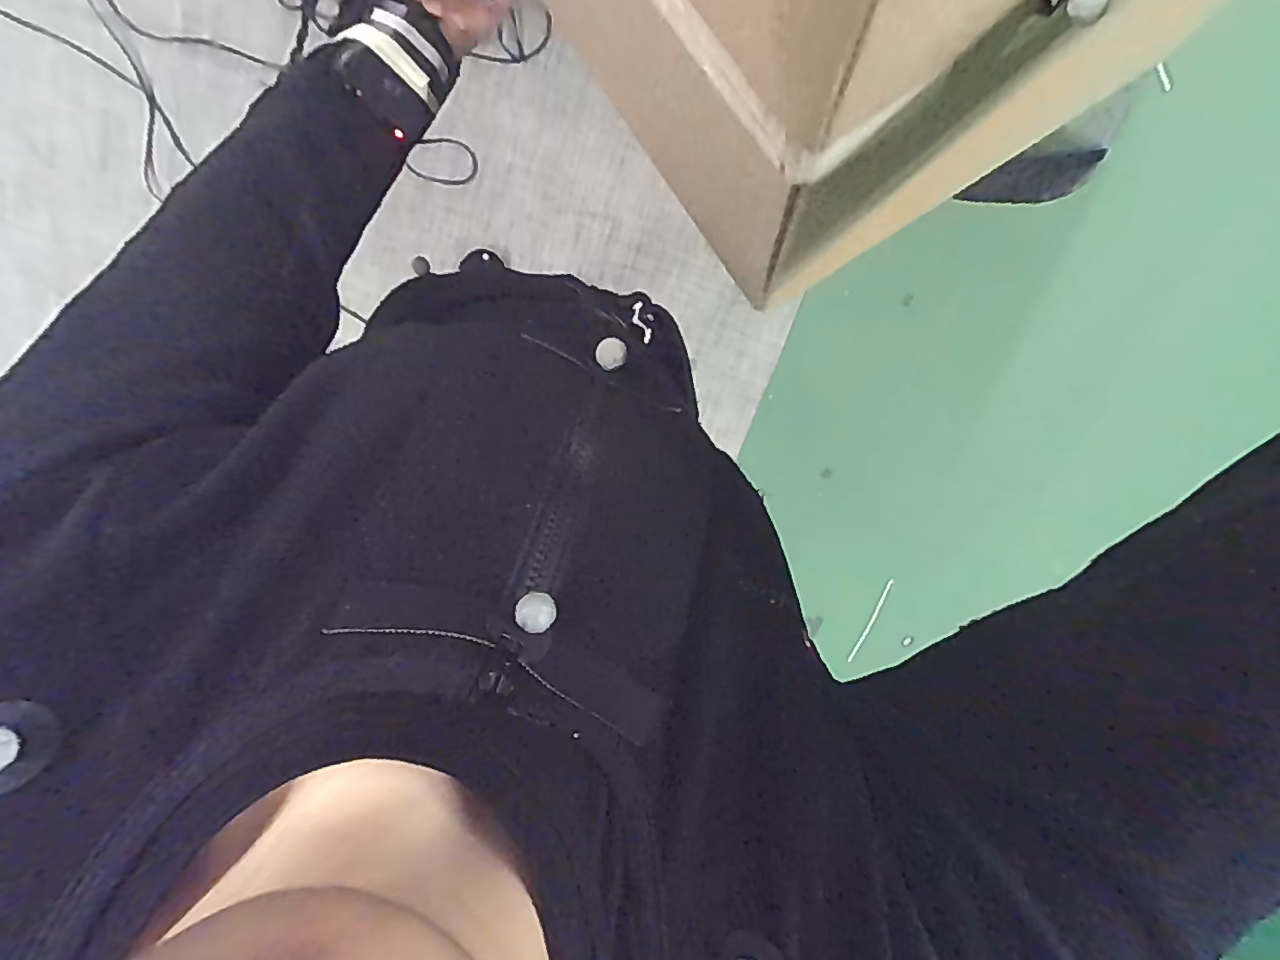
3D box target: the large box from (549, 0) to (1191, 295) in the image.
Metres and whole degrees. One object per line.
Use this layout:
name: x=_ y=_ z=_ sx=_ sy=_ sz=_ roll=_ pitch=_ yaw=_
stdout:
large box: x=0.086 y=-0.368 z=0.225 sx=0.320 sy=0.320 sz=0.408 roll=-34 pitch=84 yaw=3
